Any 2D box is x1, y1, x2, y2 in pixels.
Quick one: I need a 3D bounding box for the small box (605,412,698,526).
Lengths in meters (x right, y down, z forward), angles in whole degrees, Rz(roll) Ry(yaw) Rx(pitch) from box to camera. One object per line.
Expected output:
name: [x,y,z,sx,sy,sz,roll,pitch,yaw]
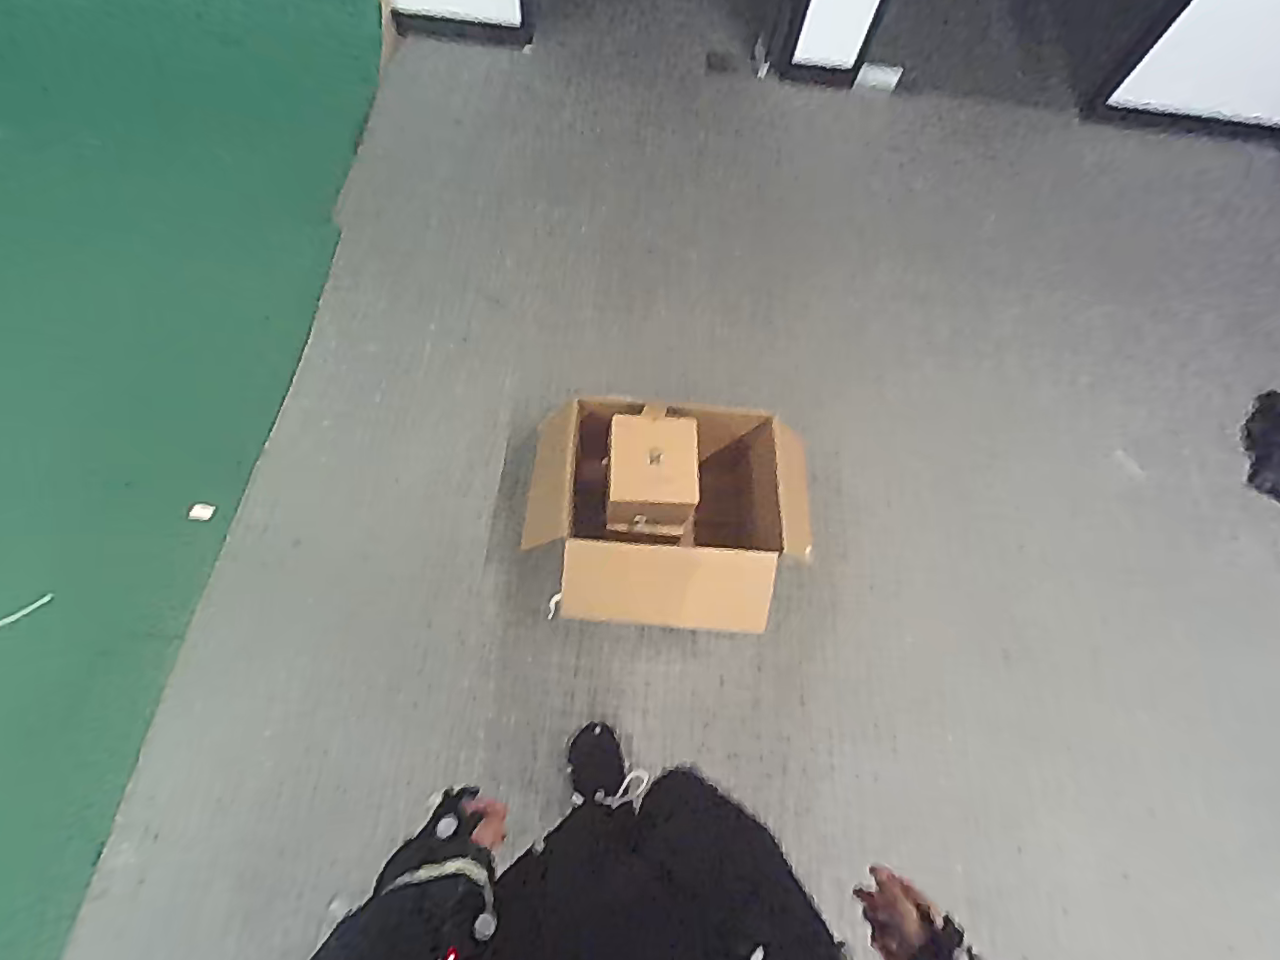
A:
small box: [0.018,-0.017,1.084,0.168,0.176,0.179,3,69,-5]
